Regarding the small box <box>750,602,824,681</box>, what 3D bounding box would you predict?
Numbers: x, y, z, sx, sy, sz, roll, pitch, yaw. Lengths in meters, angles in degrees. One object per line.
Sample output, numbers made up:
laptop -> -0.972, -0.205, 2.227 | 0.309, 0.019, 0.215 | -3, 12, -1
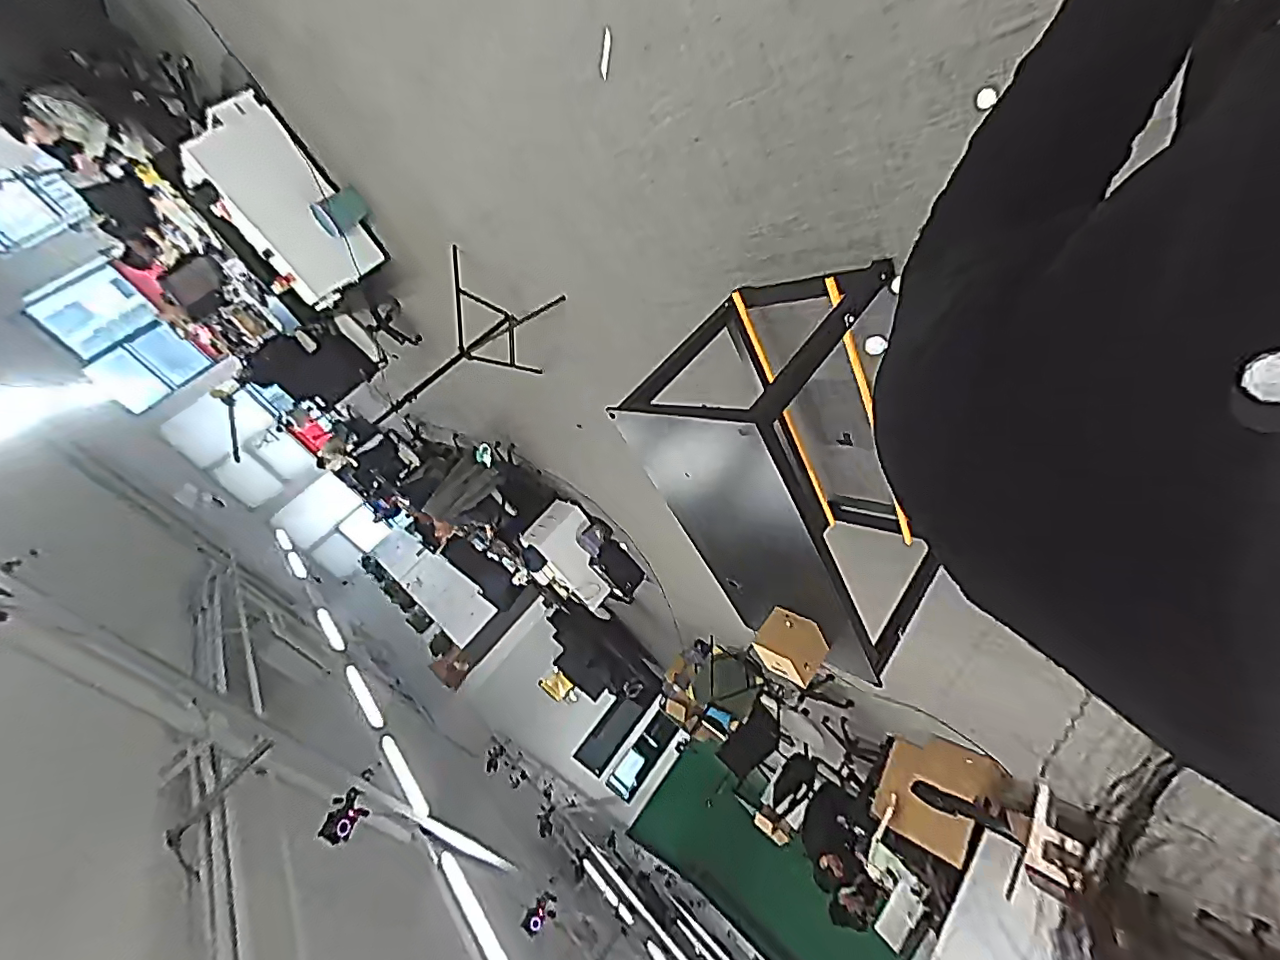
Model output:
small box -> 0.525, 0.564, 1.908 | 0.168, 0.176, 0.179 | 14, 144, 49
